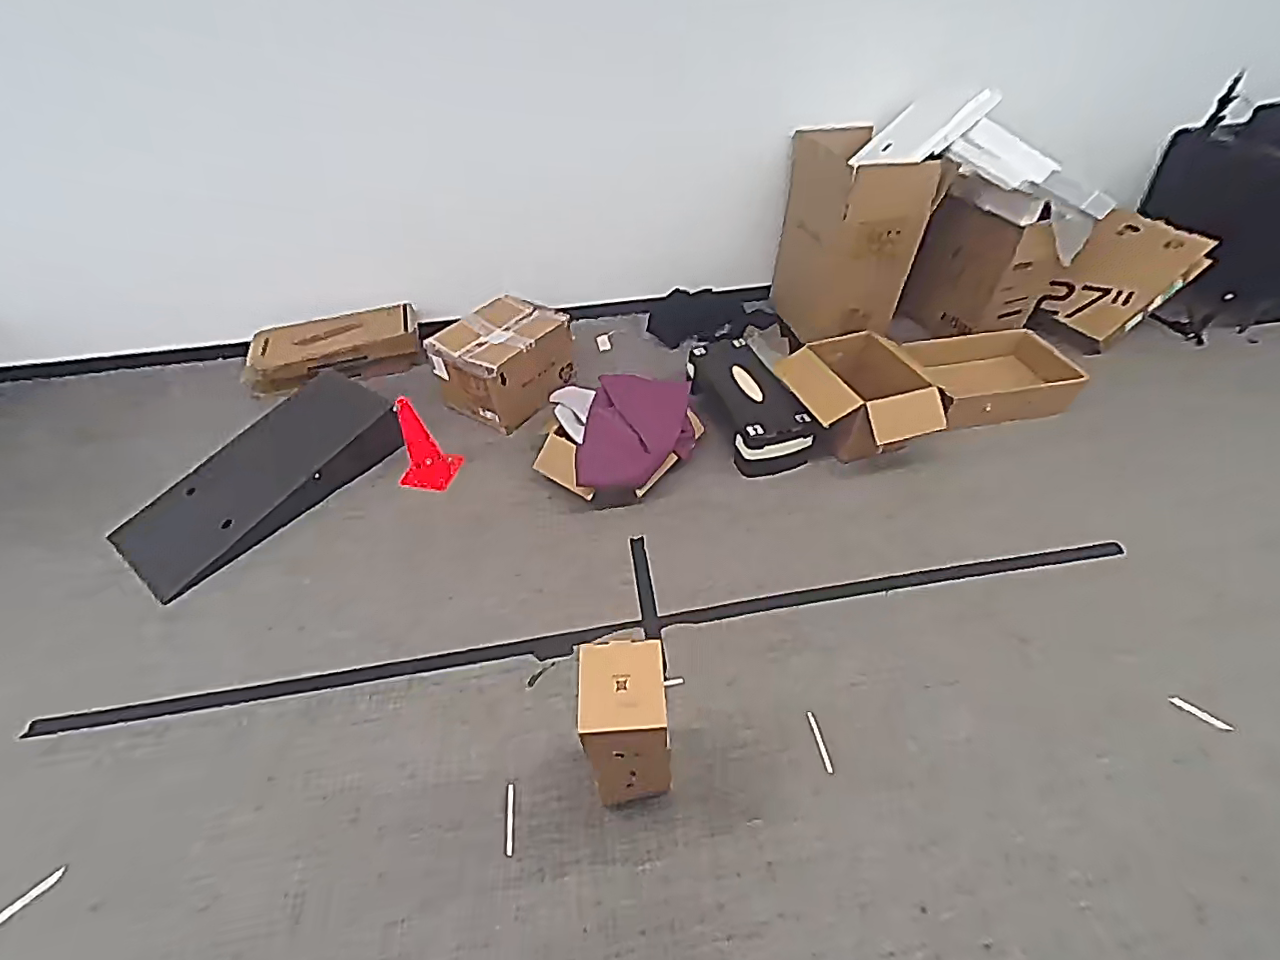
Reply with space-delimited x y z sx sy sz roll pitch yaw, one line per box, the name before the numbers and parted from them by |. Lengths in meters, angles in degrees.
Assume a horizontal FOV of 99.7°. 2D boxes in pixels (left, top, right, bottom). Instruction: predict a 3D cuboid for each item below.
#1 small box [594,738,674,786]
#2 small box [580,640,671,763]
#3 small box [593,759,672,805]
small box | -0.023 0.551 1.201 0.168 0.176 0.179 -8 46 -5
small box | -0.028 0.442 1.080 0.168 0.176 0.179 -4 47 -1
small box | -0.023 0.668 1.318 0.179 0.176 0.168 -10 46 -8
